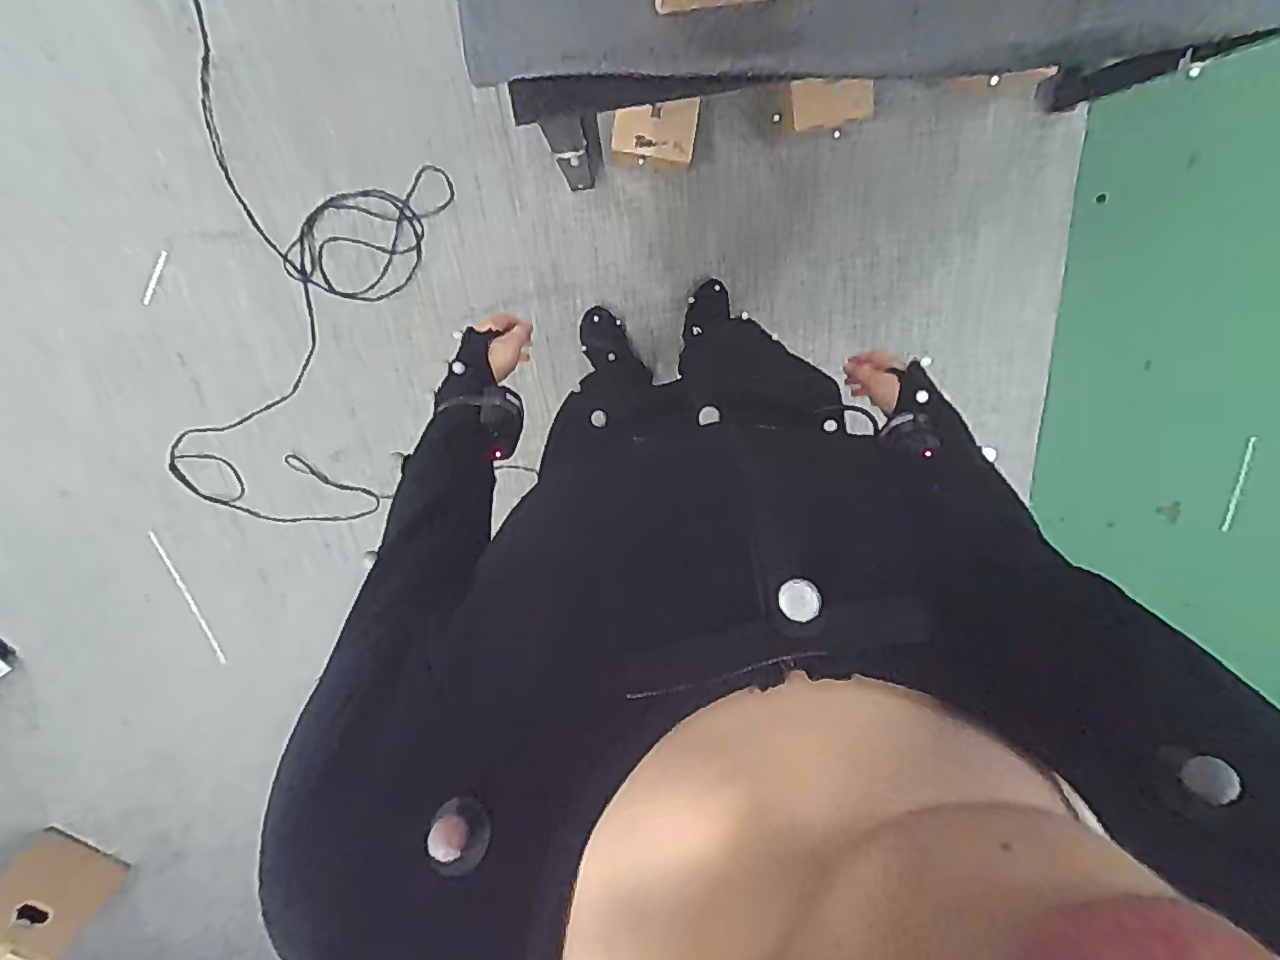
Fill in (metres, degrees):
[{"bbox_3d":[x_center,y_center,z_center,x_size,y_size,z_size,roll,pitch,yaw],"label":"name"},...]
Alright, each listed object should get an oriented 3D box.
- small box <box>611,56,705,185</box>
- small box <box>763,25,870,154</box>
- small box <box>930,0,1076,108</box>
[{"bbox_3d":[0.030,-0.748,1.145,0.168,0.176,0.179,7,110,-6],"label":"small box"},{"bbox_3d":[0.368,-0.809,1.142,0.168,0.176,0.179,-11,110,0],"label":"small box"},{"bbox_3d":[0.745,-0.901,1.129,0.179,0.176,0.168,2,111,-6],"label":"small box"}]
